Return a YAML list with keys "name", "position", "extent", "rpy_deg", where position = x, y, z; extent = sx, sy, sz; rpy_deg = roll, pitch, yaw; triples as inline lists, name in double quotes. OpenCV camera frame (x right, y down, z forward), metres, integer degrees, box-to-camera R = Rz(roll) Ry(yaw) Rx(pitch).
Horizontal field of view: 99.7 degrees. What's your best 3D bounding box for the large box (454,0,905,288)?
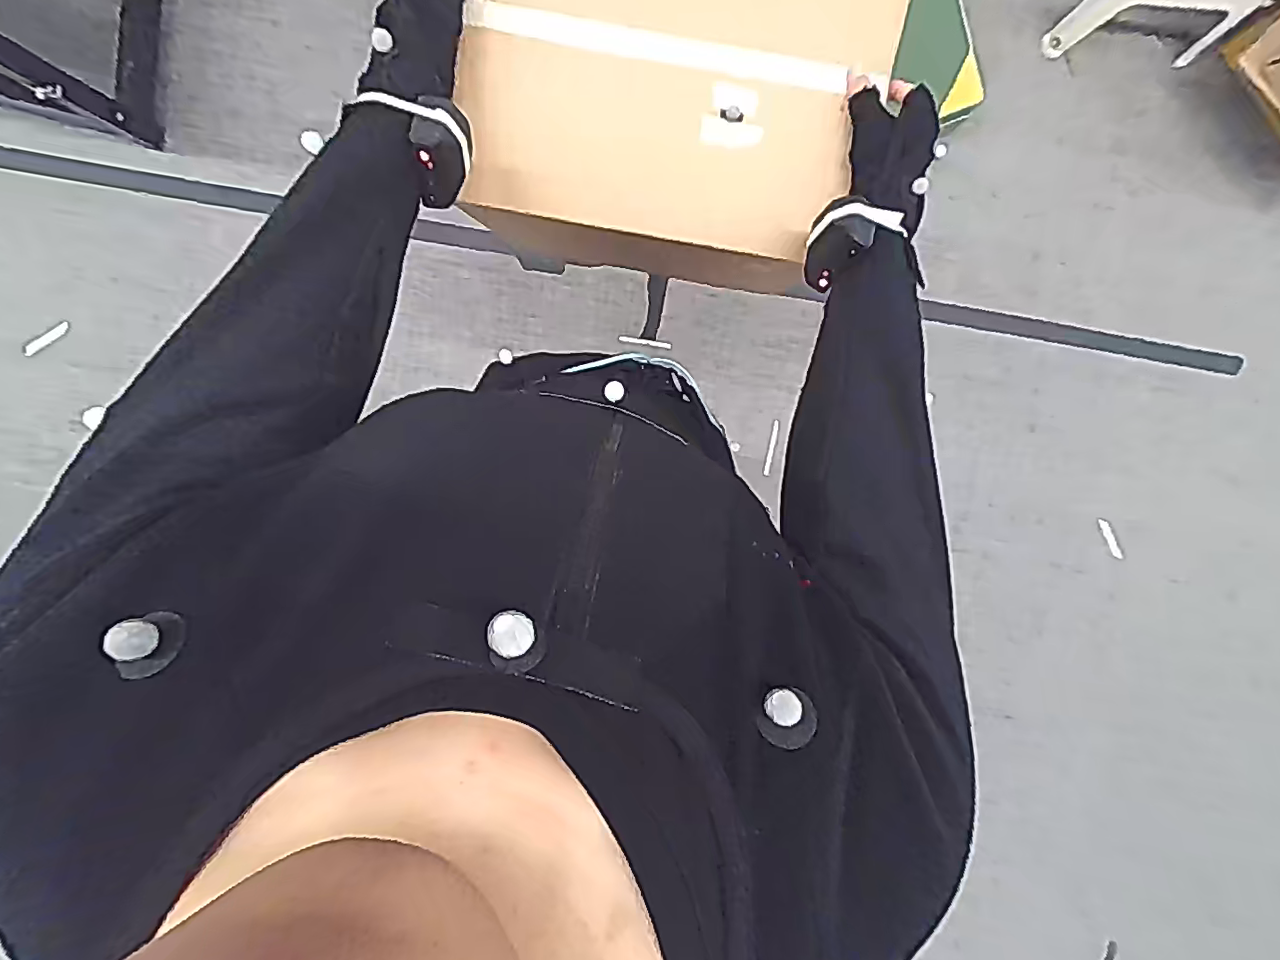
- name: "large box"
  position: [0.033, -0.435, 0.649]
  extent: [0.408, 0.320, 0.320]
  rpy_deg: [10, 105, -2]
